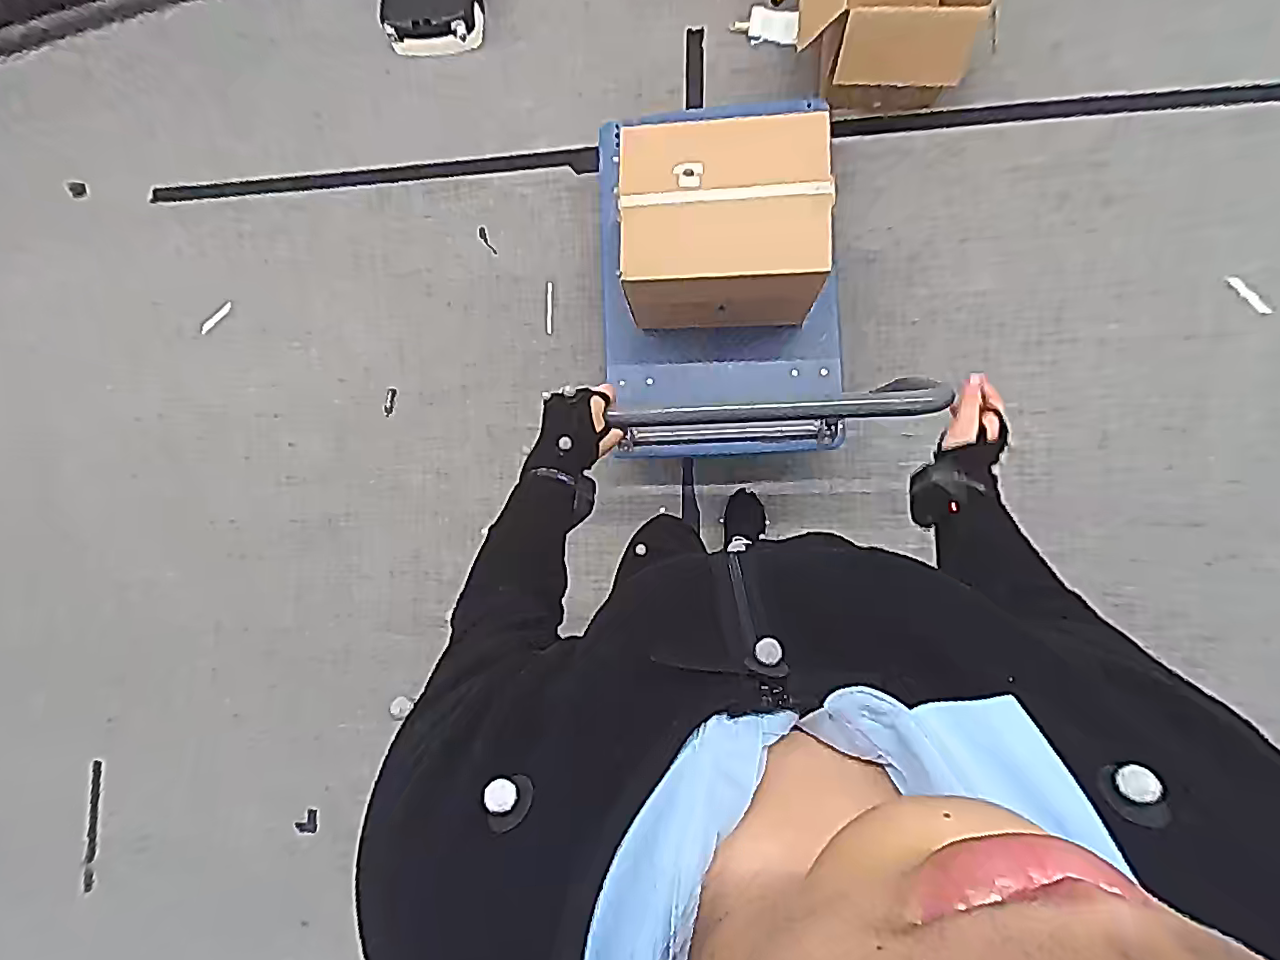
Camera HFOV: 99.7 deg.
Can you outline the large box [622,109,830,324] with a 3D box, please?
[{"bbox_3d":[0.182,-0.551,1.202,0.408,0.320,0.320,-1,87,7],"label":"large box"}]
